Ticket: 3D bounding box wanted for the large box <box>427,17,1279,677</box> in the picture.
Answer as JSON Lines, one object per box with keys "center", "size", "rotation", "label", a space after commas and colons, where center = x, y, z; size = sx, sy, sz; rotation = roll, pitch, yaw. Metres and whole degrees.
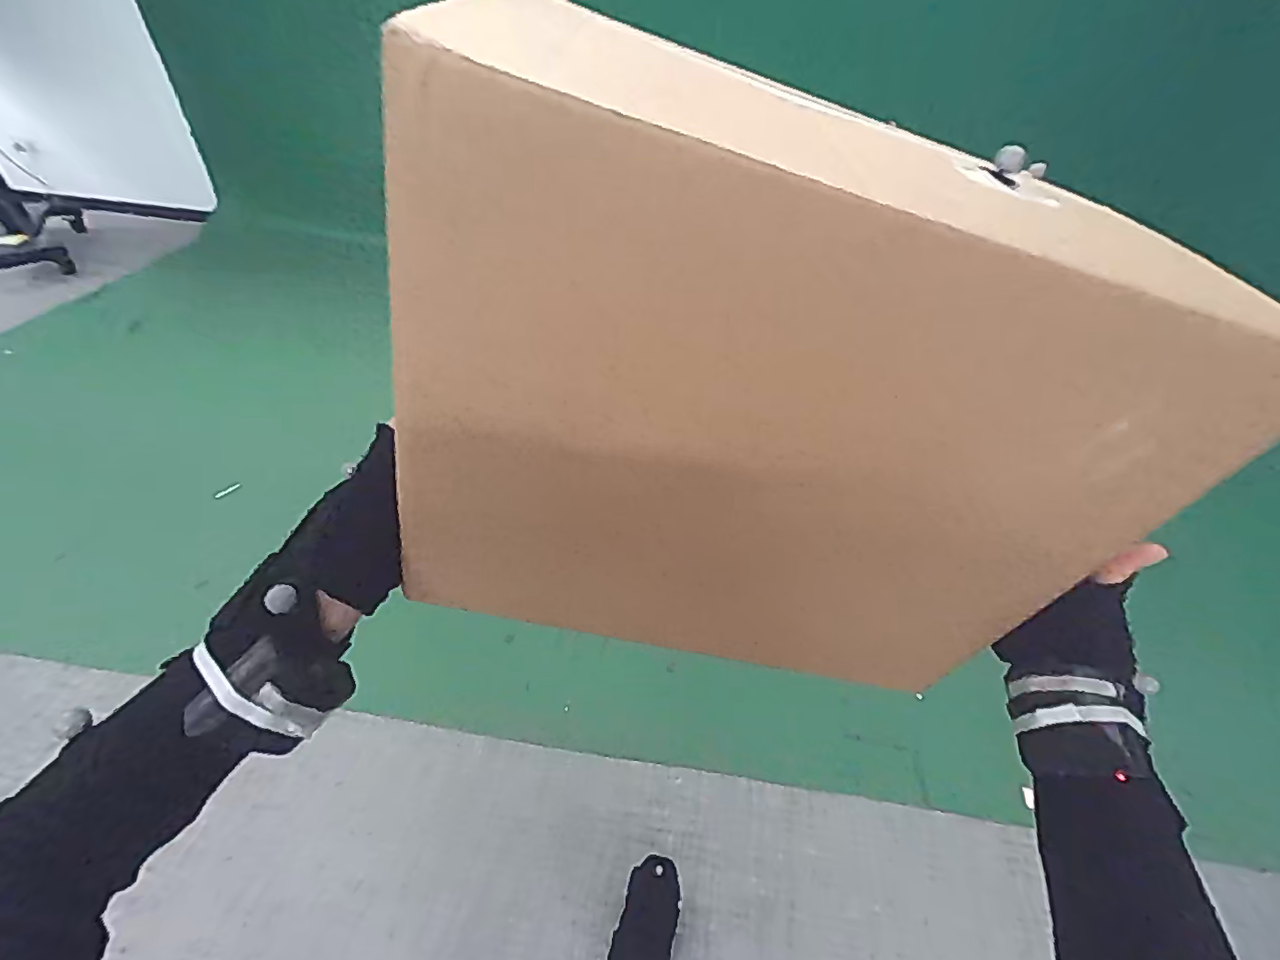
{"center": [0.087, -0.084, 0.419], "size": [0.408, 0.320, 0.320], "rotation": [14, 43, -10], "label": "large box"}
